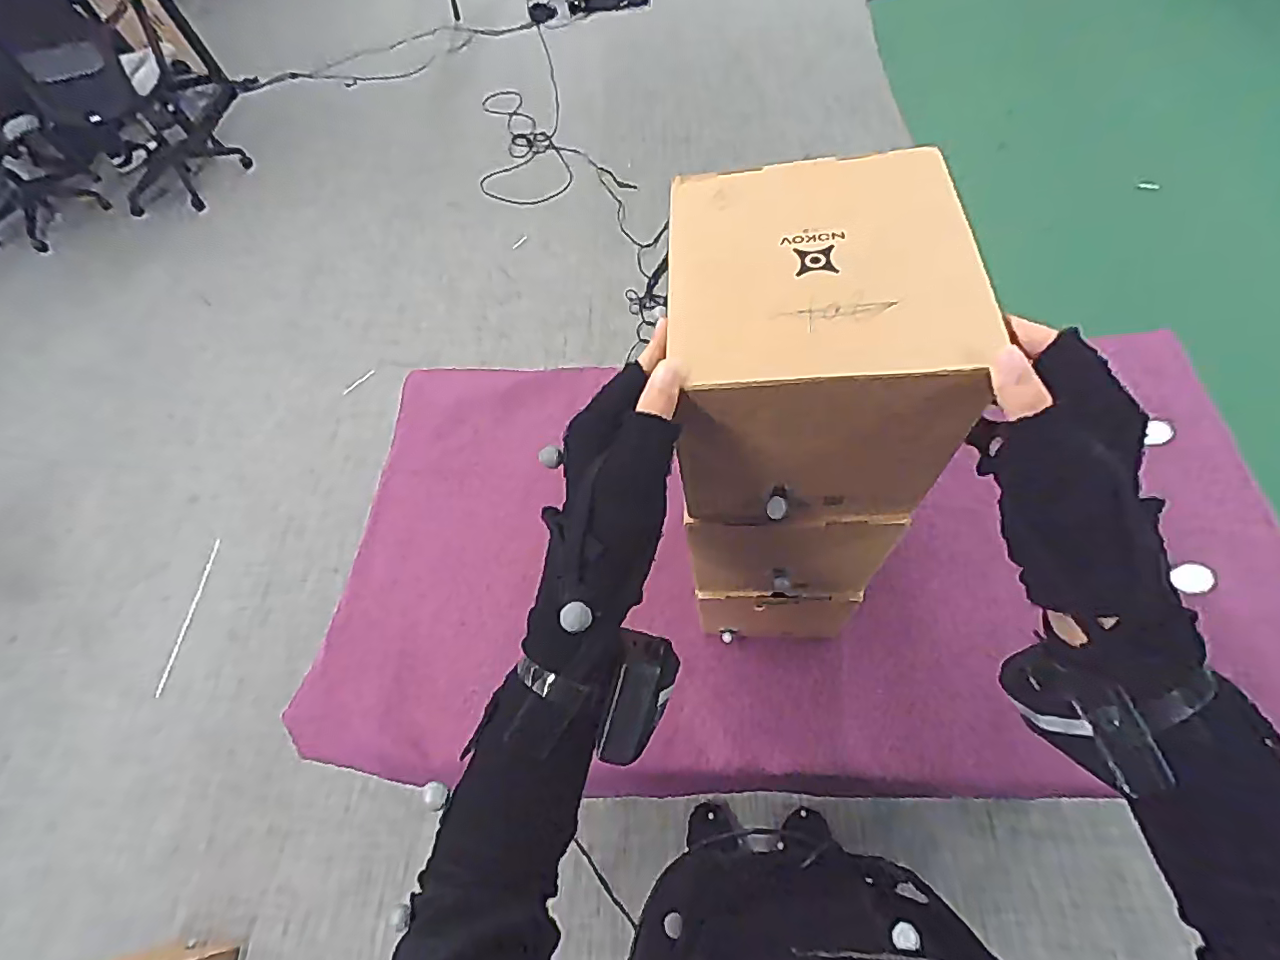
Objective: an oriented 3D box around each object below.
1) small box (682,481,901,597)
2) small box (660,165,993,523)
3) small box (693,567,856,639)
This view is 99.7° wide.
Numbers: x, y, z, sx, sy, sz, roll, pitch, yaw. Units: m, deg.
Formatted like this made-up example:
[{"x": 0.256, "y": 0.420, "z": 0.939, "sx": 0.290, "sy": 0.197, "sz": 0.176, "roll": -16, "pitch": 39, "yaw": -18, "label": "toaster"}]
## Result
[{"x": 0.130, "y": 0.001, "z": 0.521, "sx": 0.168, "sy": 0.176, "sz": 0.179, "roll": -1, "pitch": 61, "yaw": 9, "label": "small box"}, {"x": 0.108, "y": -0.083, "z": 0.382, "sx": 0.168, "sy": 0.176, "sz": 0.179, "roll": -2, "pitch": 61, "yaw": 10, "label": "small box"}, {"x": 0.154, "y": 0.089, "z": 0.658, "sx": 0.168, "sy": 0.176, "sz": 0.179, "roll": -1, "pitch": 60, "yaw": 9, "label": "small box"}]
